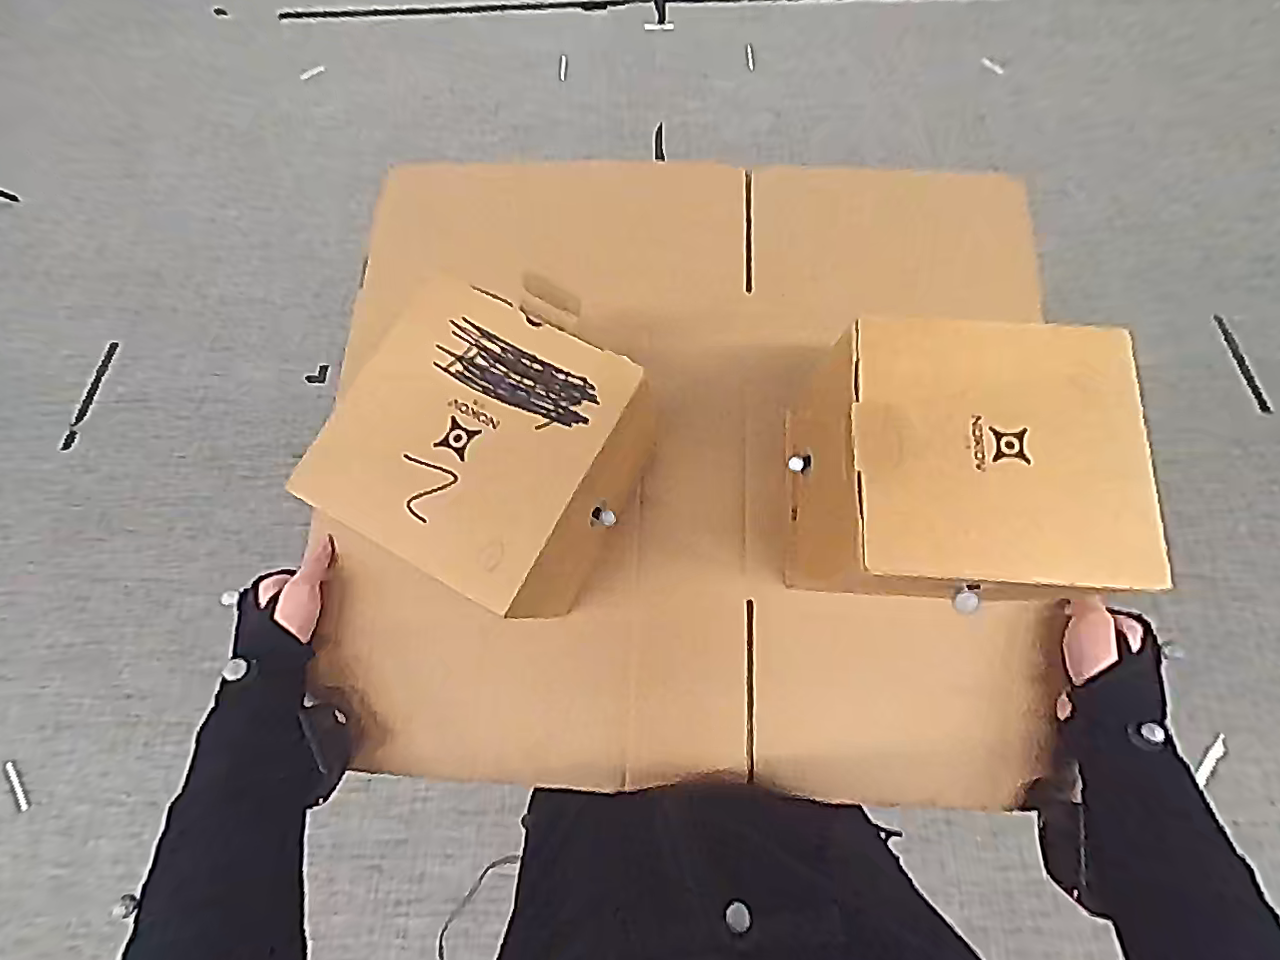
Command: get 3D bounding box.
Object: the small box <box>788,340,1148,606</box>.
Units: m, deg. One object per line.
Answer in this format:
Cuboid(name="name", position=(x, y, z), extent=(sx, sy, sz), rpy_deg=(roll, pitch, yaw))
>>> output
Cuboid(name="small box", position=(0.224, 0.009, 0.421), extent=(0.179, 0.176, 0.168), rpy_deg=(3, 75, 2))
